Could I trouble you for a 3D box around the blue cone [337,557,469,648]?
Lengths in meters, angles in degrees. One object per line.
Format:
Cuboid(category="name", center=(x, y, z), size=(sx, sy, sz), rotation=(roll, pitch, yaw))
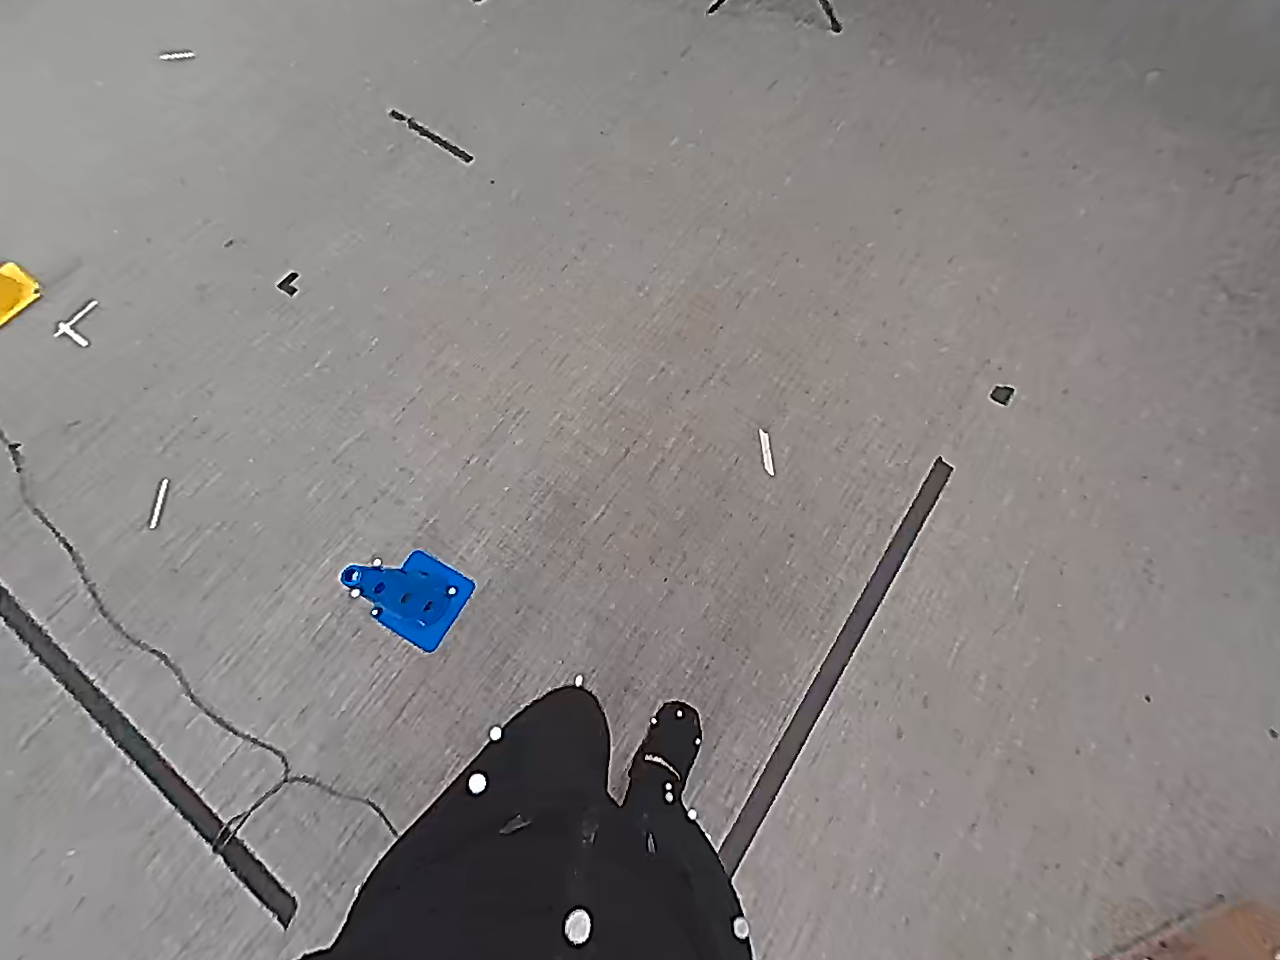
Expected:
Cuboid(category="blue cone", center=(-0.552, 0.250, 1.210), size=(0.193, 0.380, 0.192), rotation=(29, 74, 11))
